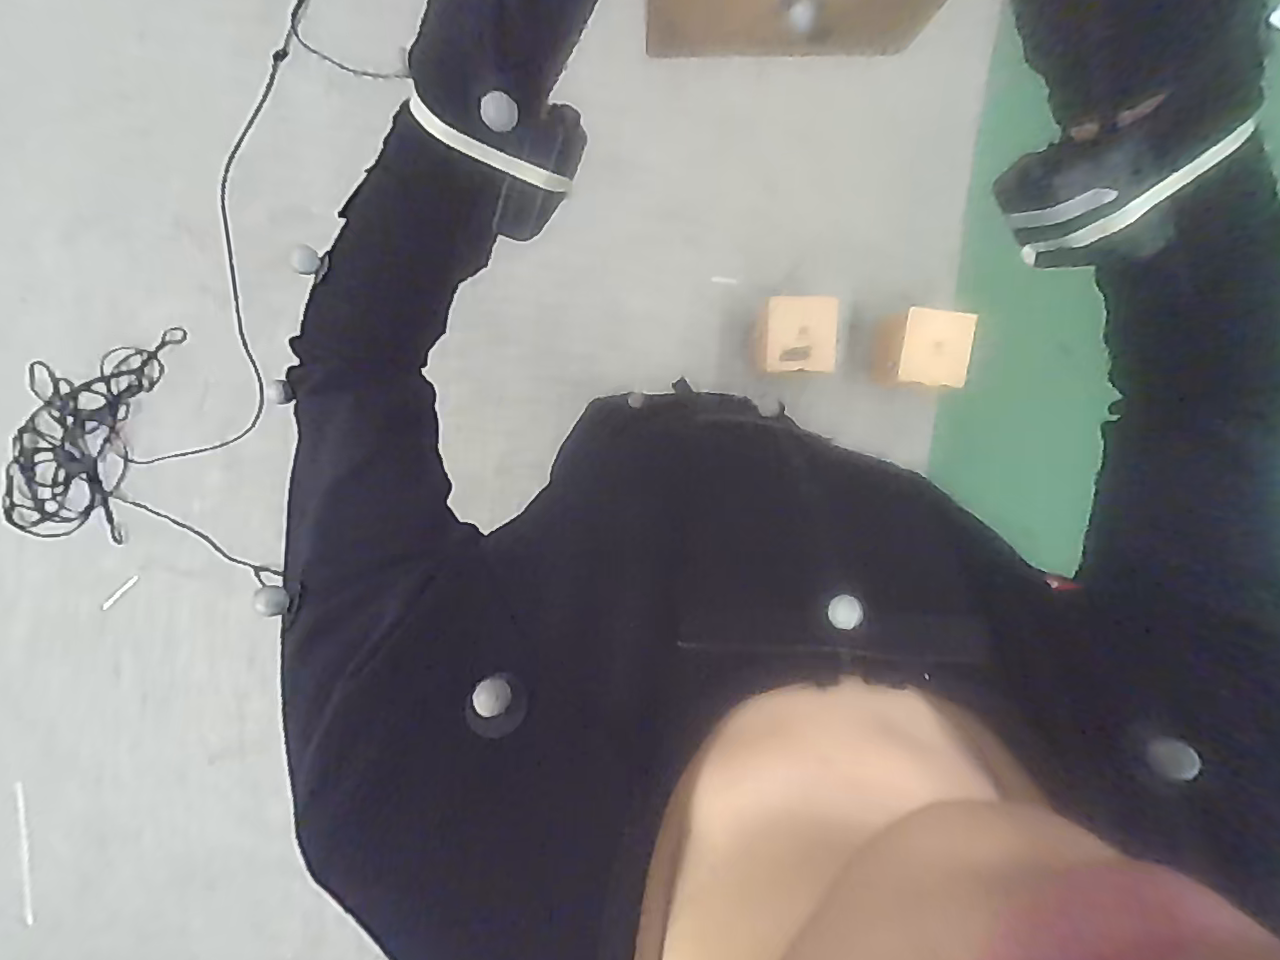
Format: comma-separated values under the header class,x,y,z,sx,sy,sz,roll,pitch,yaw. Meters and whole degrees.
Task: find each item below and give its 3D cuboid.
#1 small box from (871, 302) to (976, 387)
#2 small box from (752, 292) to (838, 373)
class,x,y,z,sx,sy,sz,roll,pitch,yaw
small box,0.704,-0.335,1.363,0.168,0.176,0.179,6,97,0
small box,0.381,-0.363,1.355,0.168,0.176,0.179,1,97,-1
